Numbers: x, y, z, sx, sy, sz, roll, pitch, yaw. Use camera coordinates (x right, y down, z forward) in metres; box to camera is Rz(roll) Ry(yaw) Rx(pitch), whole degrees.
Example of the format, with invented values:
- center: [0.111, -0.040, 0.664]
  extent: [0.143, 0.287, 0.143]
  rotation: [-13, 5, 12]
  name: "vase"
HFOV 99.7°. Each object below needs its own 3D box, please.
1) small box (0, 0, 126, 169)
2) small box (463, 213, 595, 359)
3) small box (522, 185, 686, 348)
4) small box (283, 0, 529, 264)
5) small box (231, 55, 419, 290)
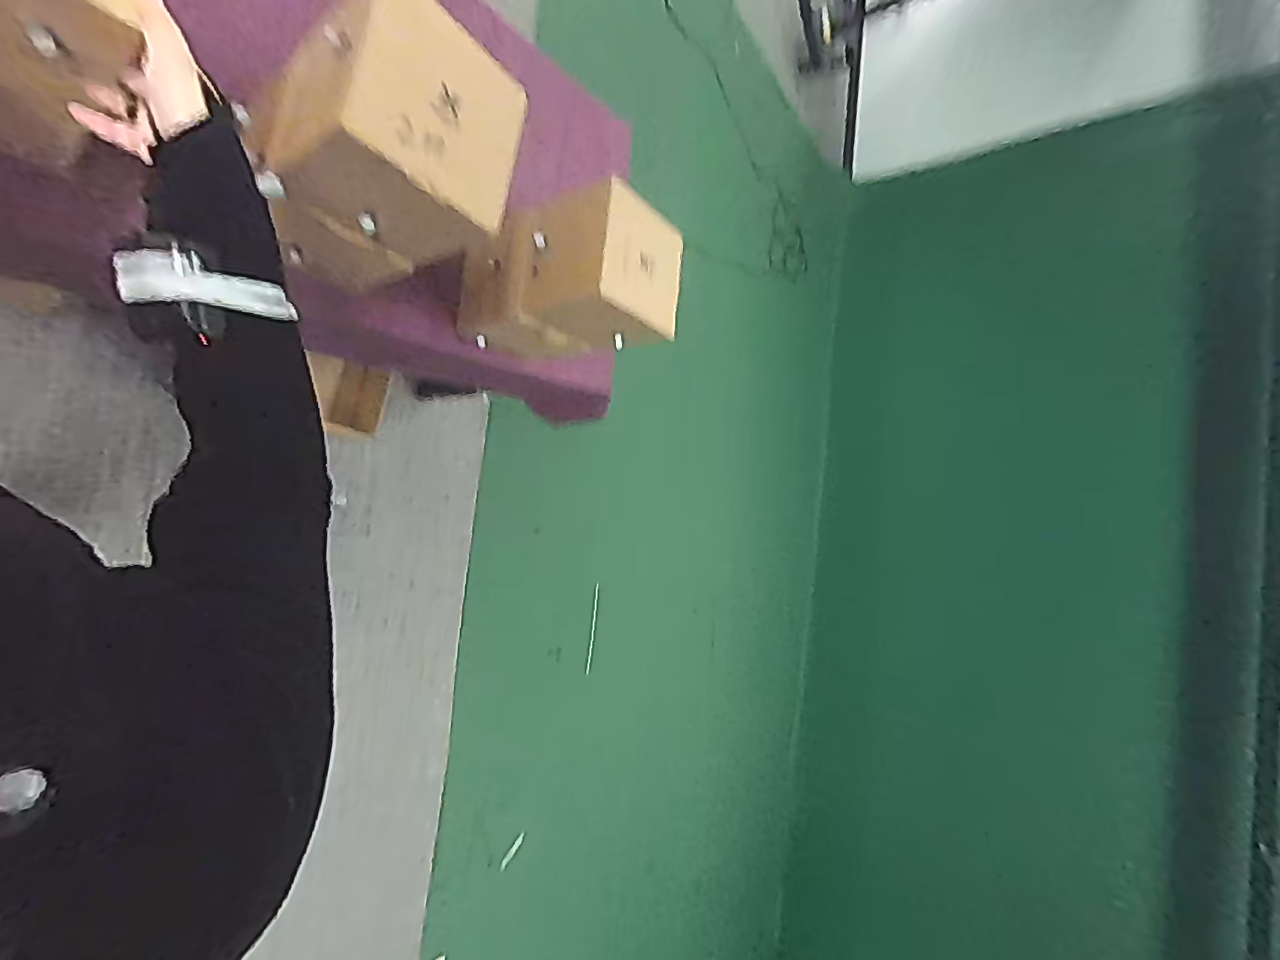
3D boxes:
- center: [-0.561, -0.396, 0.447]
  extent: [0.179, 0.176, 0.168]
  rotation: [11, 85, -51]
  name: "small box"
- center: [-0.183, -0.318, 0.931]
  extent: [0.168, 0.176, 0.179]
  rotation: [11, 83, -51]
  name: "small box"
- center: [-0.053, -0.311, 0.833]
  extent: [0.179, 0.176, 0.168]
  rotation: [13, 82, -51]
  name: "small box"
- center: [-0.250, -0.364, 0.582]
  extent: [0.168, 0.176, 0.179]
  rotation: [21, 77, -50]
  name: "small box"
- center: [-0.380, -0.366, 0.682]
  extent: [0.168, 0.176, 0.179]
  rotation: [19, 79, -51]
  name: "small box"
